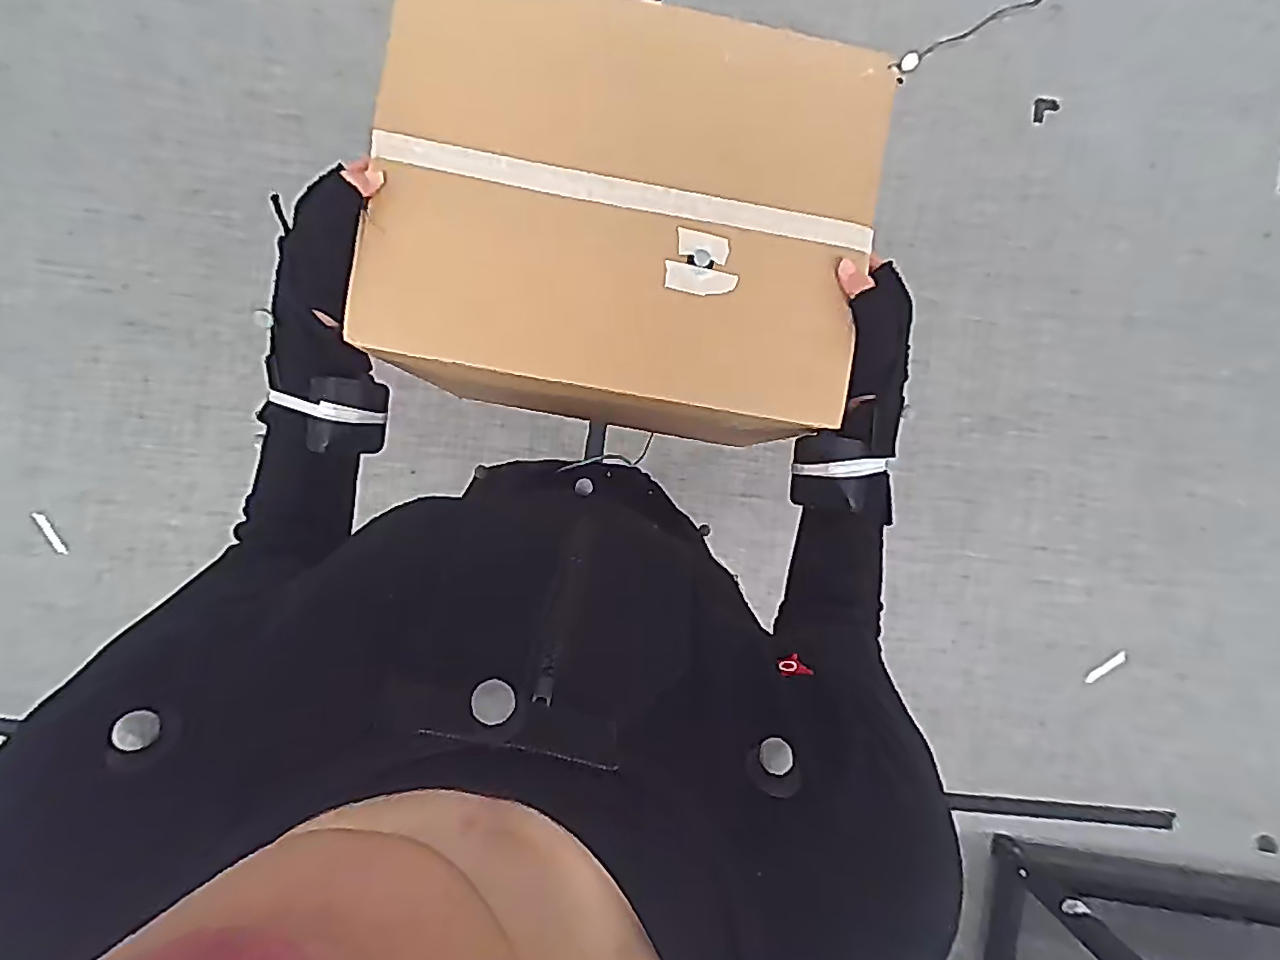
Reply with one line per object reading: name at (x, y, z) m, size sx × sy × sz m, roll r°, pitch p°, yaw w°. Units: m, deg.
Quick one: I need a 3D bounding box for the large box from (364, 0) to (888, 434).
large box at (-0.018, -0.239, 0.593) m, size 0.408 × 0.320 × 0.320 m, roll 9°, pitch 91°, yaw -4°
